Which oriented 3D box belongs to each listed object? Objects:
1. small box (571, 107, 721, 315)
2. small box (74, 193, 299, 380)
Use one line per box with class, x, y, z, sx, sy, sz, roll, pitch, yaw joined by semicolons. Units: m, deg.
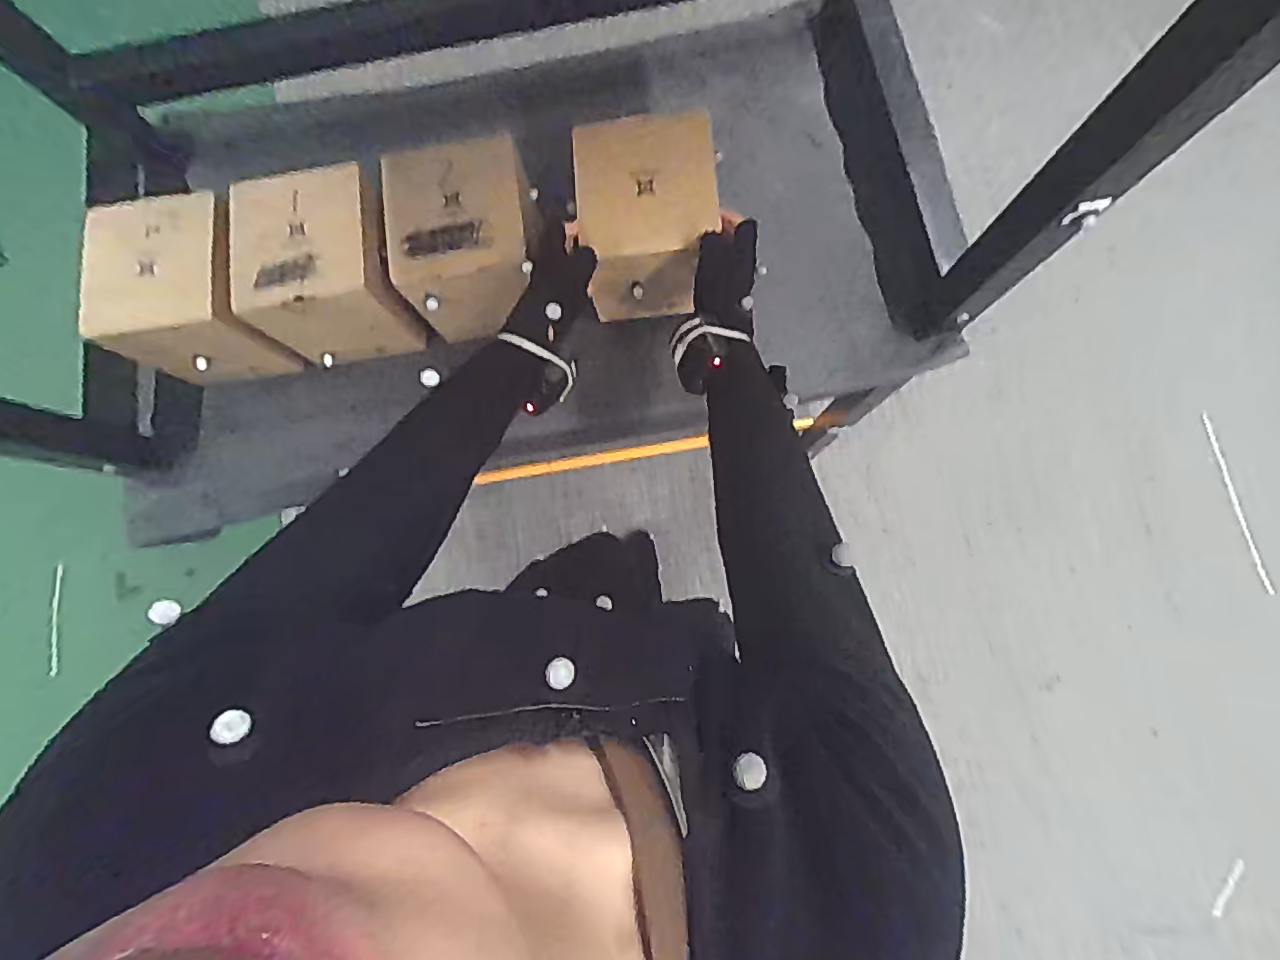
small box;0.012;-0.327;0.696;0.168;0.176;0.179;-5;80;4
small box;-0.589;-0.244;0.726;0.168;0.176;0.179;-7;79;1
